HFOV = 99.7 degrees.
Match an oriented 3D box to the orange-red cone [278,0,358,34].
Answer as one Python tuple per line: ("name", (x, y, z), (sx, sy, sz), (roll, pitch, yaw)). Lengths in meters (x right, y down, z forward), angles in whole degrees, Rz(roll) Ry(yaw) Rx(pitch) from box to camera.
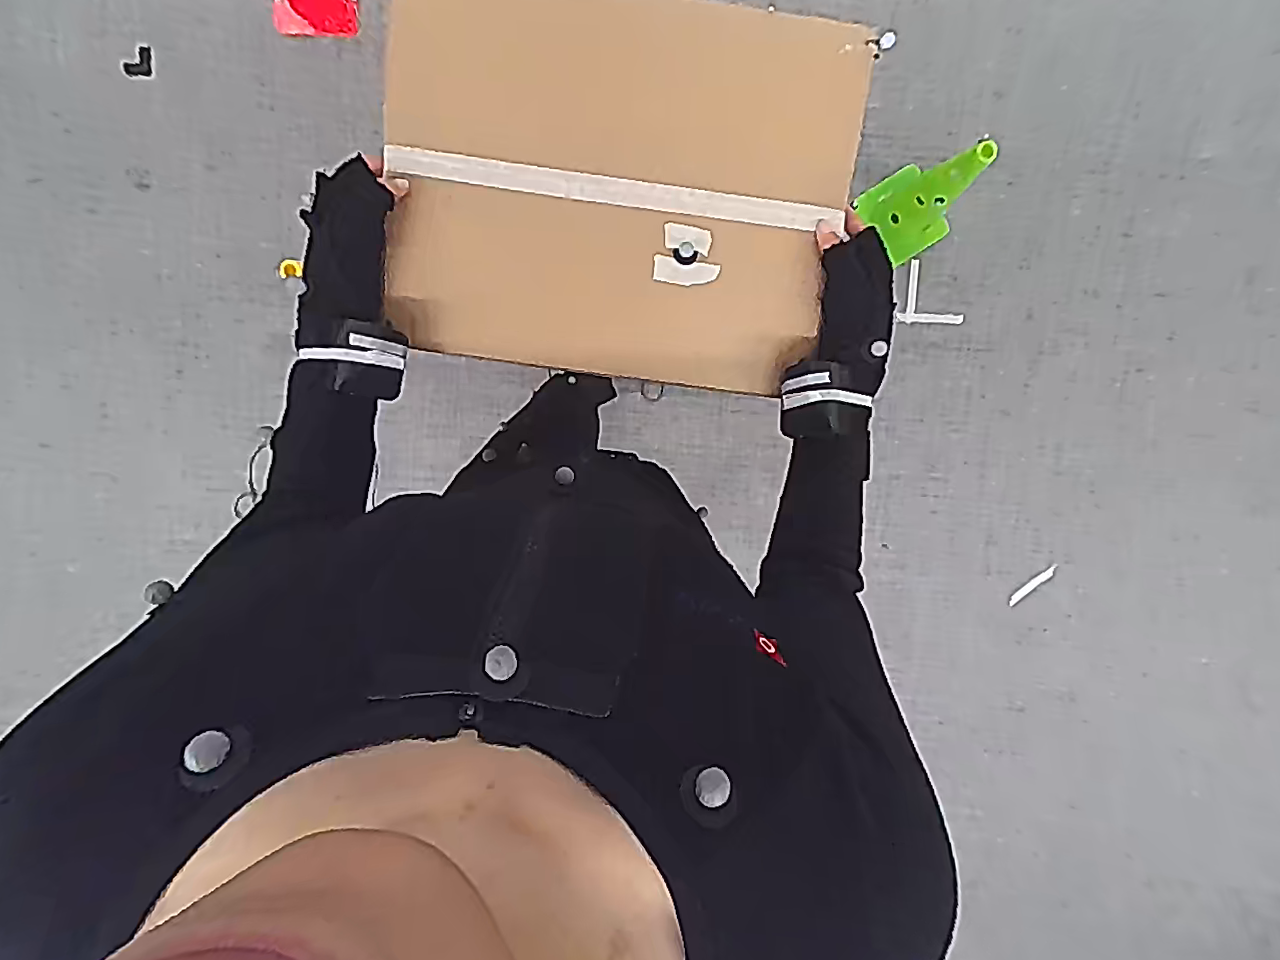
("orange-red cone", (-0.783, -1.162, 1.135), (0.198, 0.360, 0.199), (2, 99, 1))

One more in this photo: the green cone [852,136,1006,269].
("green cone", (0.664, -0.645, 1.196), (0.202, 0.368, 0.200), (-33, 97, 2))

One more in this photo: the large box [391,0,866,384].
("large box", (-0.023, -0.288, 0.629), (0.408, 0.320, 0.320), (7, 101, -3))
